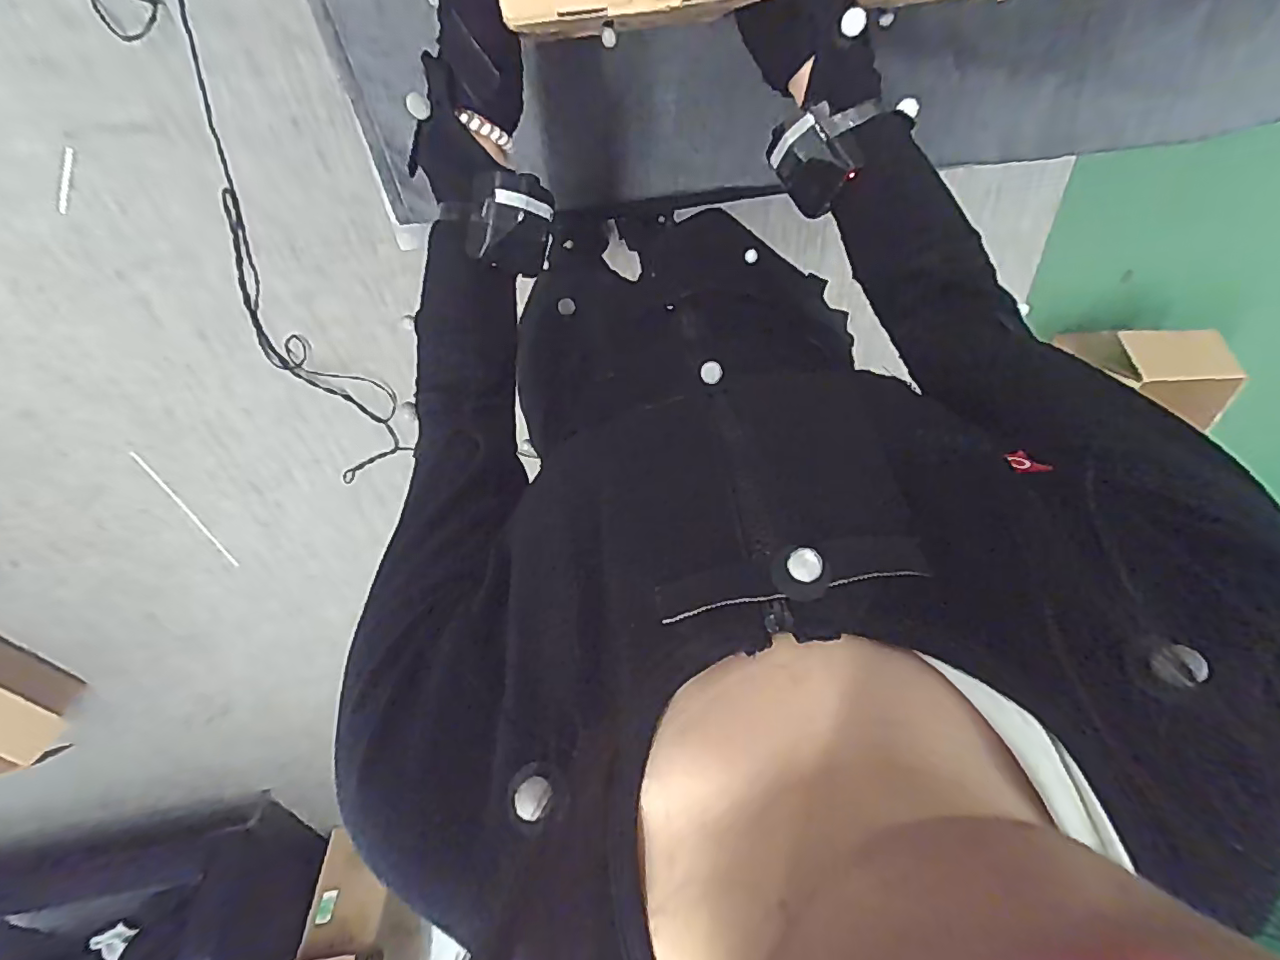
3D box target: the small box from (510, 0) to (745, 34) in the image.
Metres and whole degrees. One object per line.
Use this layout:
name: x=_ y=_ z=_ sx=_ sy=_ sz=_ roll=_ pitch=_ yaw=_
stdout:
small box: x=-0.014 y=-0.397 z=0.329 sx=0.168 sy=0.176 sz=0.179 roll=-9 pitch=128 yaw=-2

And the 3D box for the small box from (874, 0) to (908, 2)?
small box: x=0.267 y=-0.460 z=0.380 sx=0.168 sy=0.176 sz=0.179 roll=-8 pitch=128 yaw=-2
